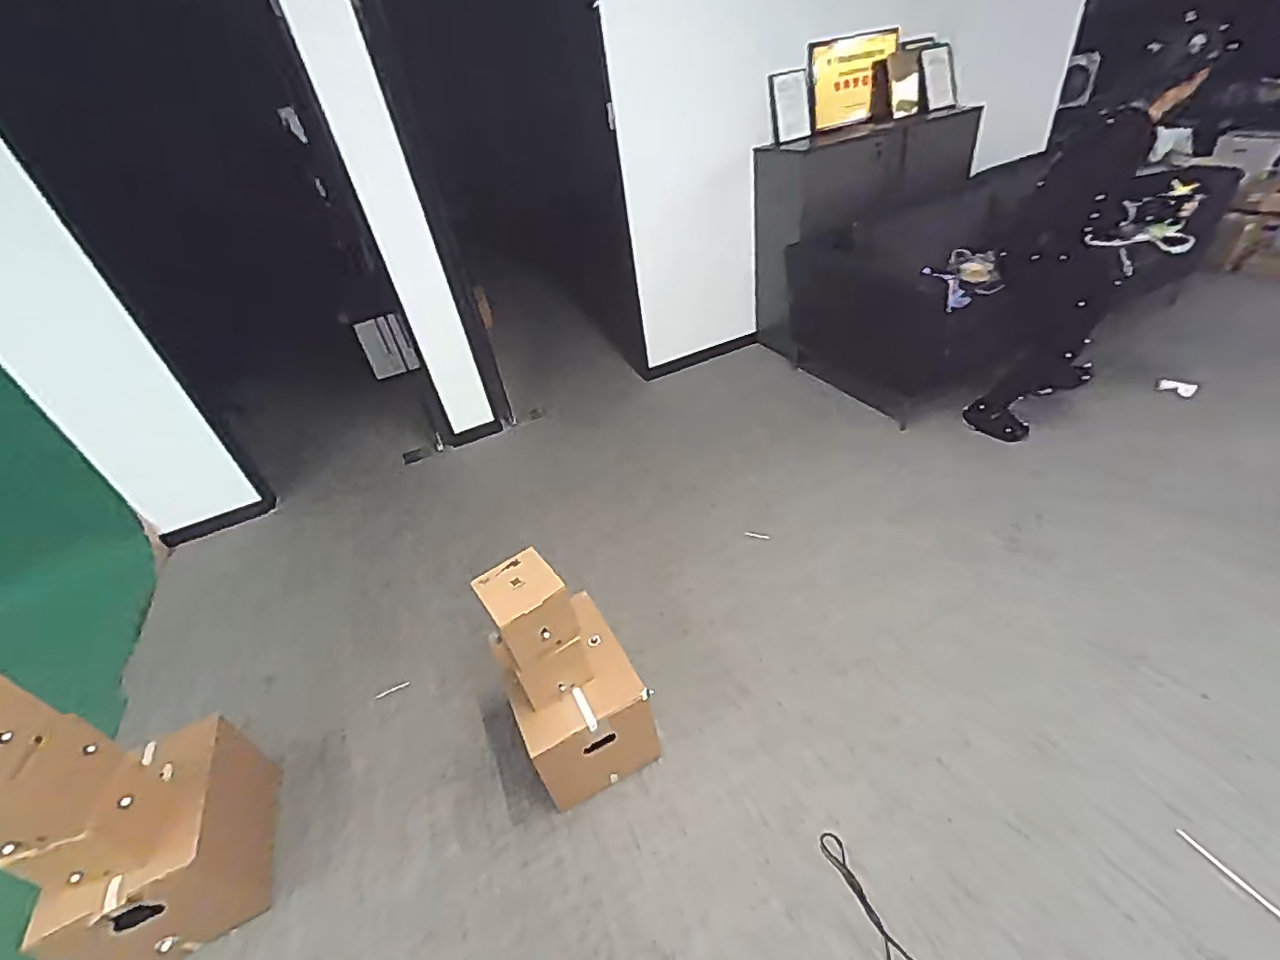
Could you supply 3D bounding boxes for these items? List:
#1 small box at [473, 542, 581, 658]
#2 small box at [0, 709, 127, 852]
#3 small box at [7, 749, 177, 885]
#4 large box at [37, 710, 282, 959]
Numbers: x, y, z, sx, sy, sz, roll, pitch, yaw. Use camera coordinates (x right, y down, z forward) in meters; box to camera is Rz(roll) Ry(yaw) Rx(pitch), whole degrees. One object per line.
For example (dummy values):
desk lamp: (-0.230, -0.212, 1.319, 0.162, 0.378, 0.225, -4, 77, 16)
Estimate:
small box: (-0.259, 0.286, 1.263, 0.168, 0.176, 0.179, -30, 42, -22)
small box: (-1.195, 0.599, 1.079, 0.168, 0.176, 0.179, -15, 39, -4)
small box: (-1.163, 0.729, 1.172, 0.168, 0.176, 0.179, -17, 38, -8)
large box: (-1.146, 0.891, 1.359, 0.320, 0.320, 0.408, -23, 38, -17)
